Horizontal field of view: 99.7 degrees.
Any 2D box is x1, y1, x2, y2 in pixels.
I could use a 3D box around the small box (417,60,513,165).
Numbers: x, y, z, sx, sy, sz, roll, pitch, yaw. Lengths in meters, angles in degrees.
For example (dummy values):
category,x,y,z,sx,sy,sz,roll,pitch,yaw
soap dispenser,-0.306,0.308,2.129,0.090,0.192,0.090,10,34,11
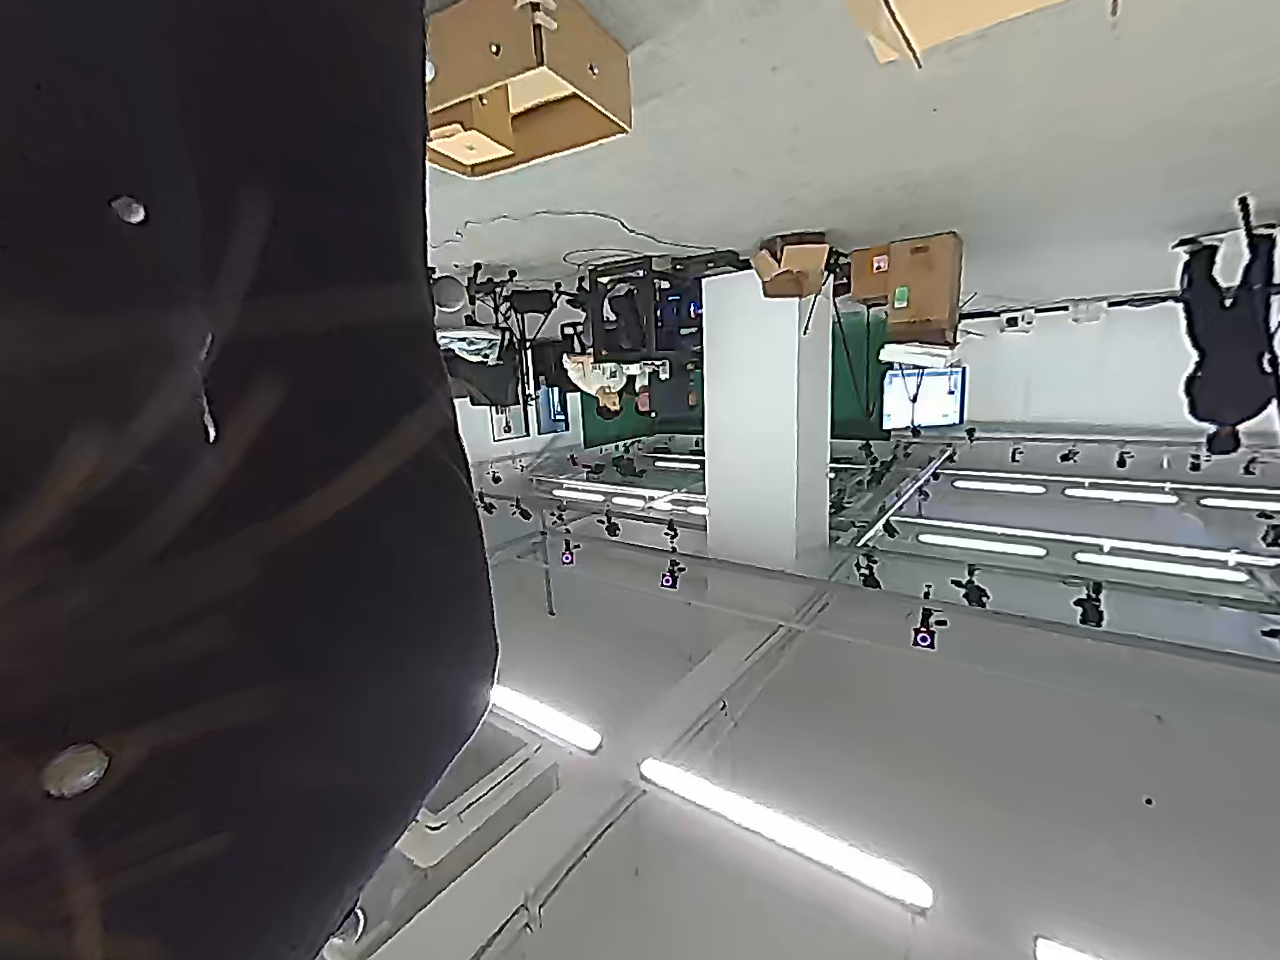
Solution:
category,x,y,z,sx,sy,sz,roll,pitch,yaw
small box,-0.459,-0.963,1.419,0.168,0.176,0.179,1,-168,22
